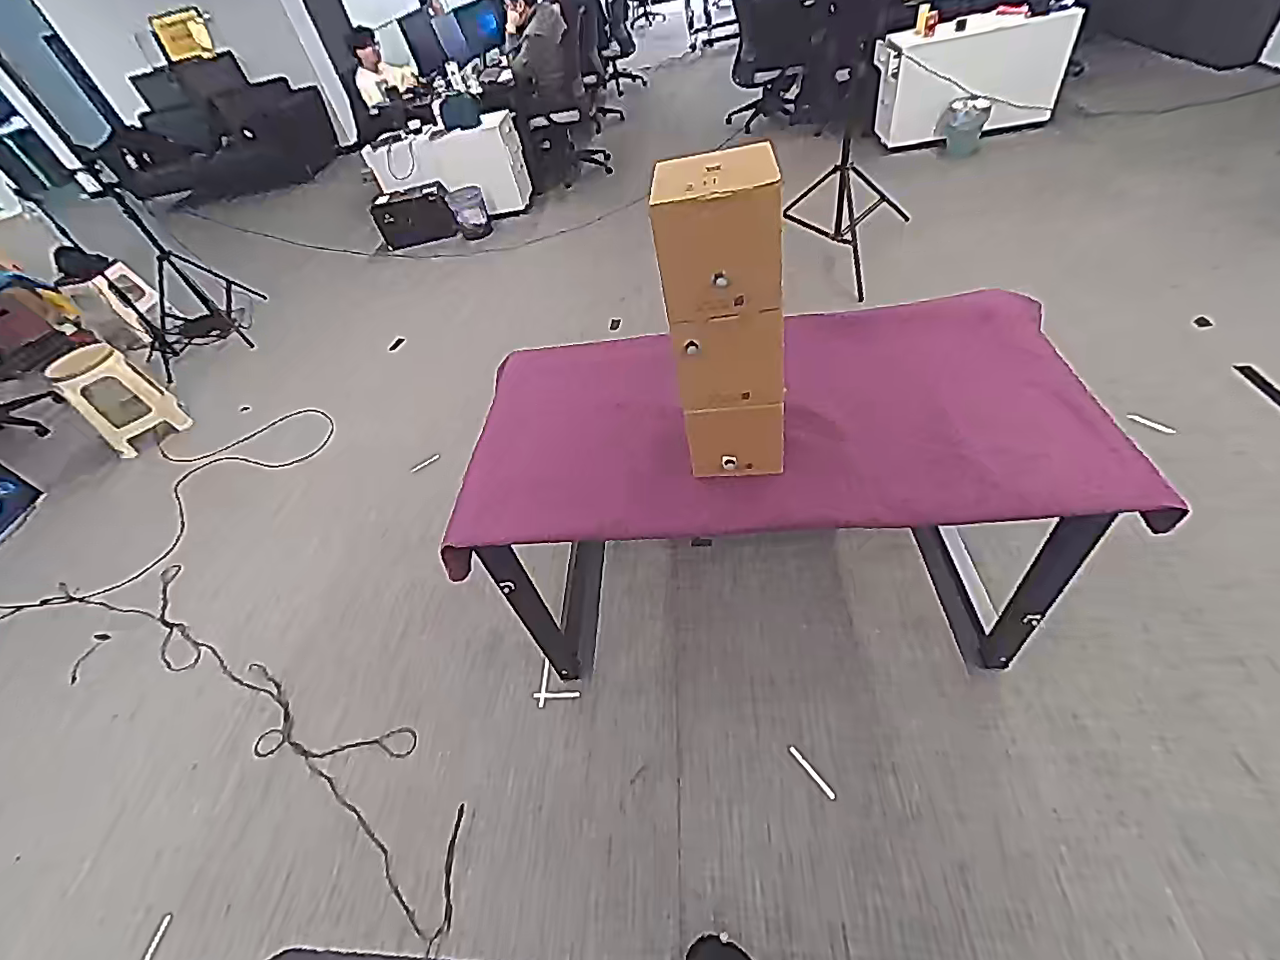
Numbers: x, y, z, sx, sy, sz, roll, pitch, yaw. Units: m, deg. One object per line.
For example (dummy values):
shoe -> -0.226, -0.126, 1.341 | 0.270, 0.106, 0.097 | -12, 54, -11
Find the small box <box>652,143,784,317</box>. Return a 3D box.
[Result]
small box -> 0.116, -0.358, 0.783 | 0.168, 0.176, 0.179 | -4, 45, 11

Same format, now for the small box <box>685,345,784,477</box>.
small box -> 0.178, -0.127, 1.010 | 0.168, 0.176, 0.179 | -4, 47, 11
